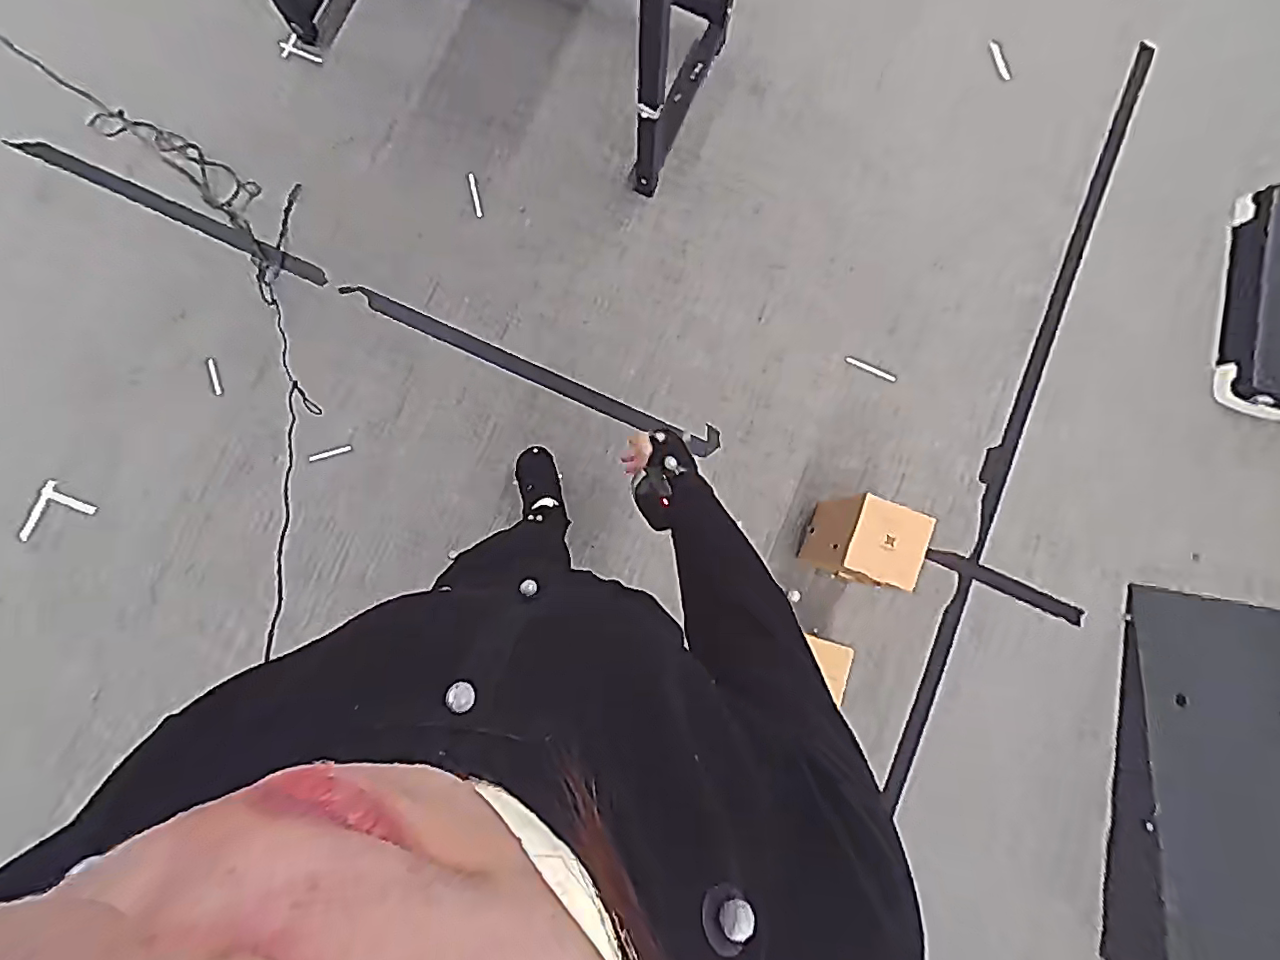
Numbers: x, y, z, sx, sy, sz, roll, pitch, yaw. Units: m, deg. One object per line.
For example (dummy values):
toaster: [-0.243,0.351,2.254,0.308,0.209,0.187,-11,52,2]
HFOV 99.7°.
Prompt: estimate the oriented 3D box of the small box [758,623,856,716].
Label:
small box: [0.419,0.477,1.391,0.179,0.176,0.168,17,85,0]

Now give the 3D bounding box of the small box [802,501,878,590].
small box: [0.547,0.169,1.421,0.168,0.176,0.179,24,85,1]

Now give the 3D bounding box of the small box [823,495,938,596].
small box: [0.547,0.151,1.258,0.168,0.176,0.179,22,84,1]
